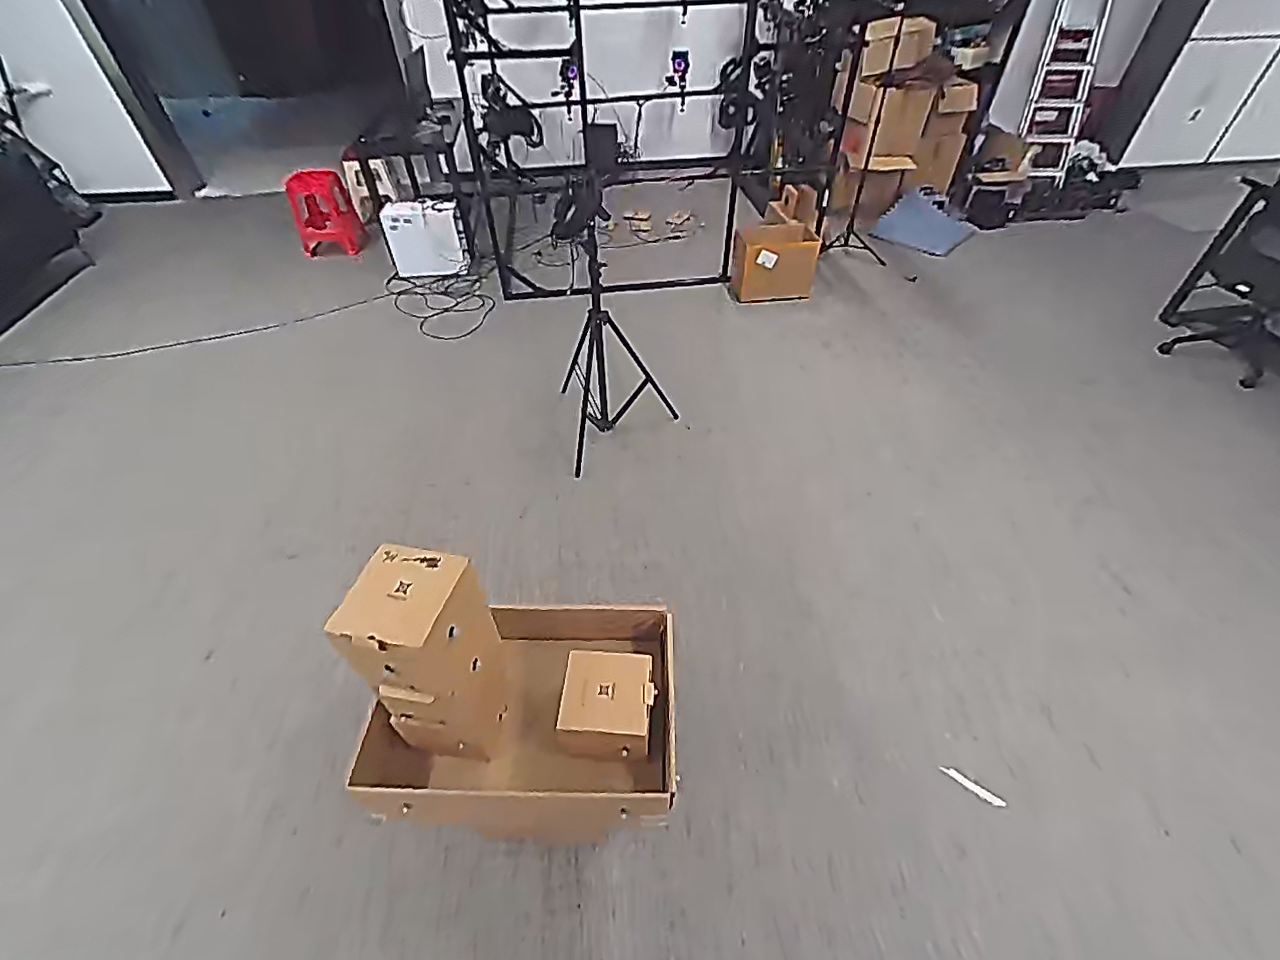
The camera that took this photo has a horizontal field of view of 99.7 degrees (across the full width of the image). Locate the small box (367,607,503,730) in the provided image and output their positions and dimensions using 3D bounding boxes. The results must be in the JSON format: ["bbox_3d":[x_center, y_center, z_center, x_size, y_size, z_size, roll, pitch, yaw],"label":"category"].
[{"bbox_3d":[-0.378,0.355,1.038,0.168,0.176,0.179,6,44,7],"label":"small box"}]

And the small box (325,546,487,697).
[{"bbox_3d":[-0.379,0.242,0.918,0.168,0.176,0.179,9,46,9],"label":"small box"}]
